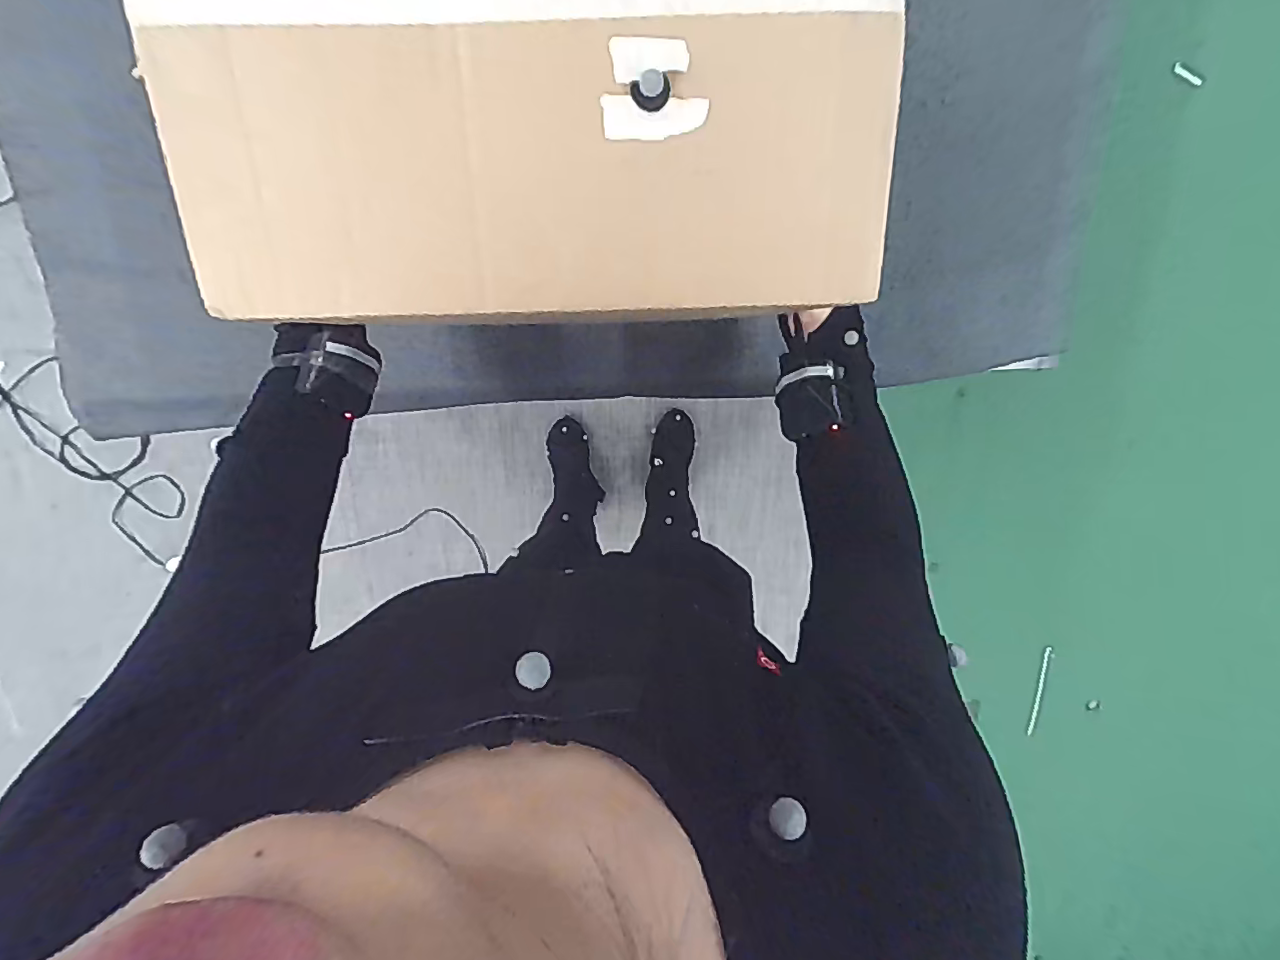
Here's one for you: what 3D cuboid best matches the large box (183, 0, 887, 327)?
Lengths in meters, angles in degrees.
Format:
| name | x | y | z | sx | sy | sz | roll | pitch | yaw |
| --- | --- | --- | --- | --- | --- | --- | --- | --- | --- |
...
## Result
| name | x | y | z | sx | sy | sz | roll | pitch | yaw |
| --- | --- | --- | --- | --- | --- | --- | --- | --- | --- |
| large box | -0.062 | -0.299 | 0.450 | 0.408 | 0.320 | 0.320 | -2 | 106 | -2 |
